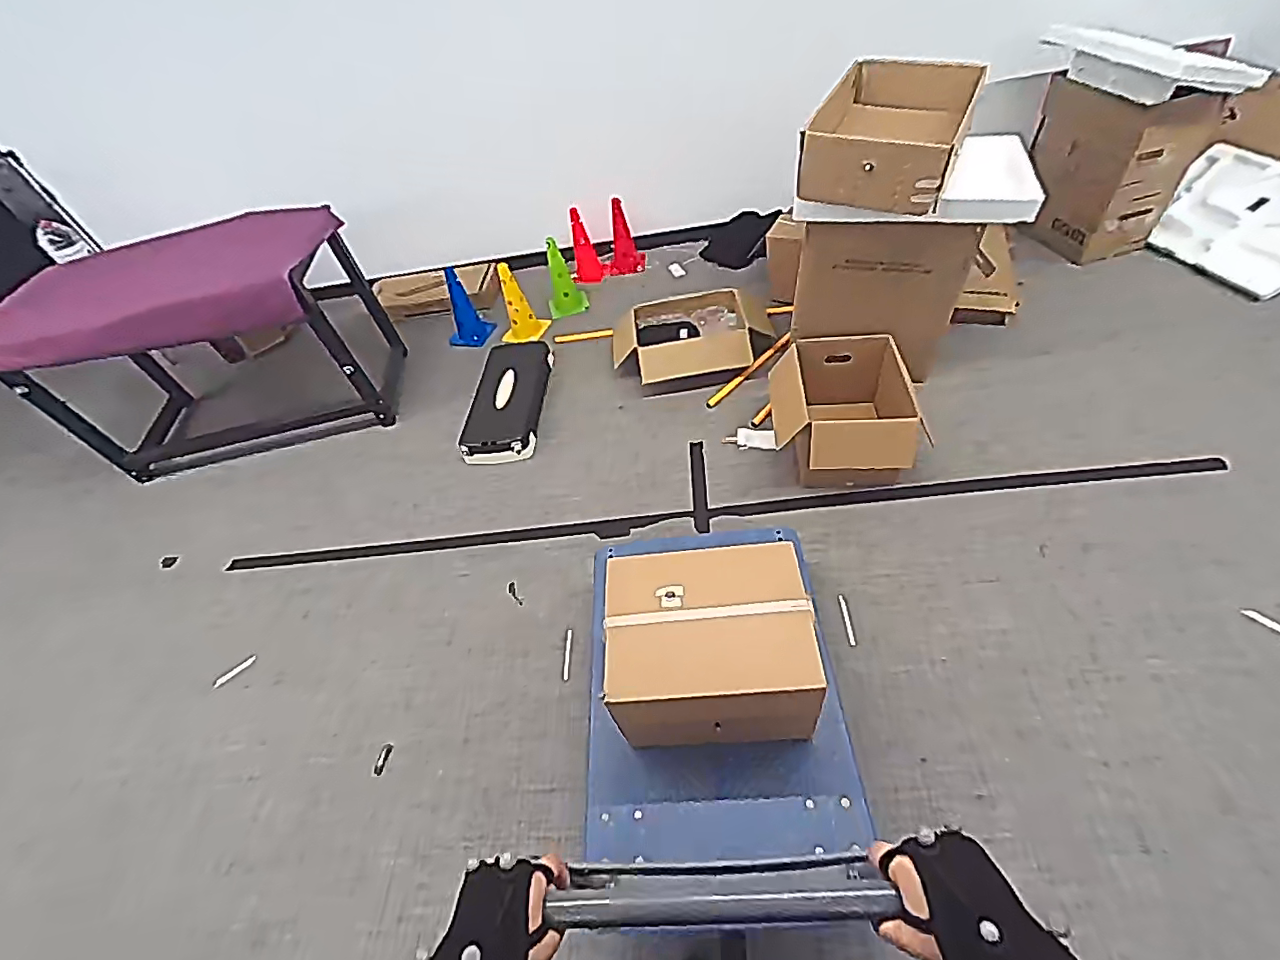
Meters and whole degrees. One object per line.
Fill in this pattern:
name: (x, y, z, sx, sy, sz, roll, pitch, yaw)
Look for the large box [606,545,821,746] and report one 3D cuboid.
large box: (0.154, 0.378, 1.203, 0.408, 0.320, 0.320, -7, 48, 6)
